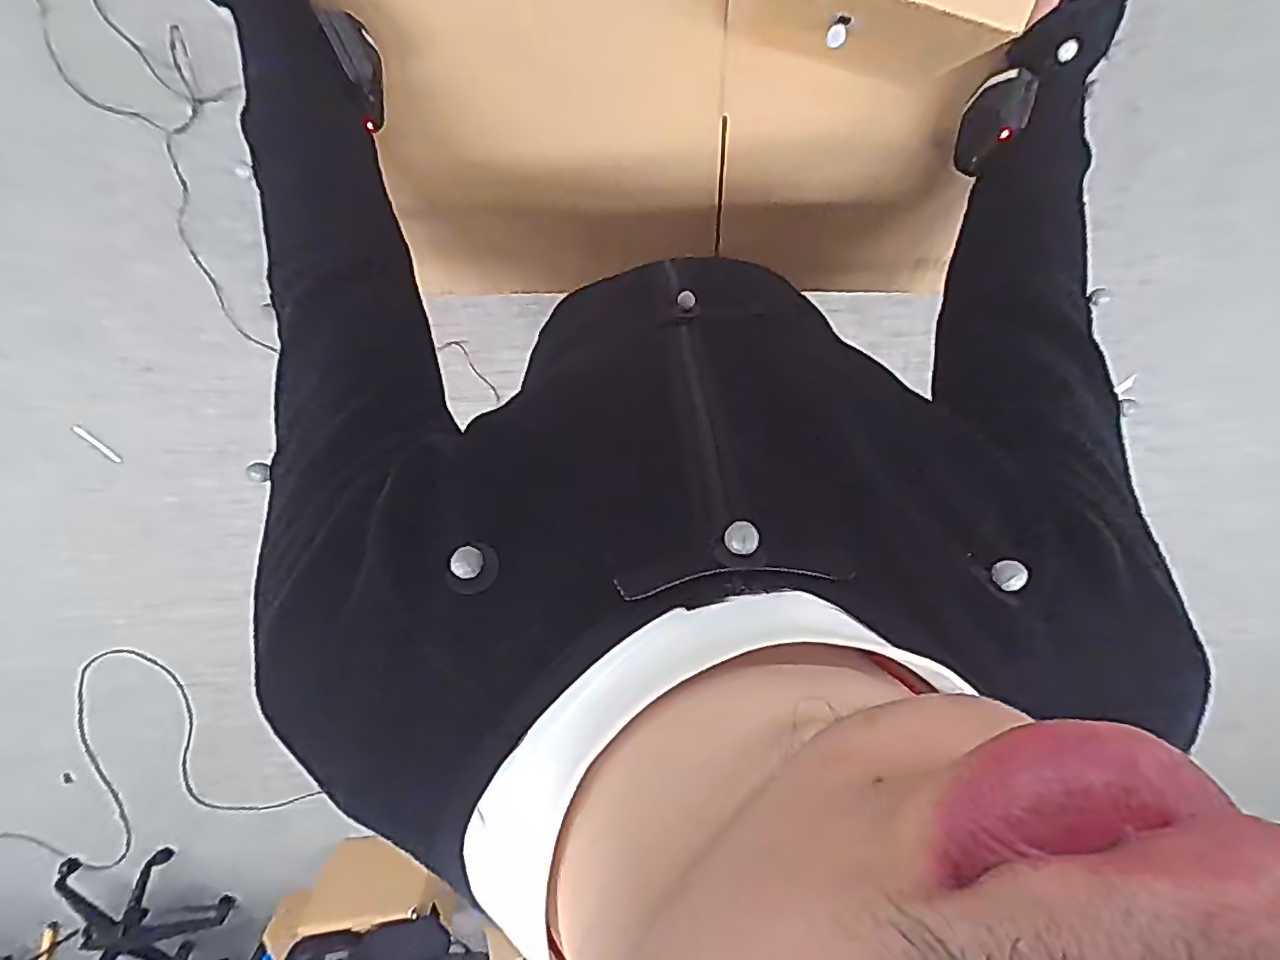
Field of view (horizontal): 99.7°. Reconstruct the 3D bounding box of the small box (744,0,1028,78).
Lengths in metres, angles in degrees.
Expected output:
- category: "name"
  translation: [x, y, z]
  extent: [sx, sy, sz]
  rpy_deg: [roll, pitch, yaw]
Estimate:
- category: "small box"
  translation: [0.185, -0.419, 0.387]
  extent: [0.179, 0.176, 0.168]
  rpy_deg: [13, 116, -3]
